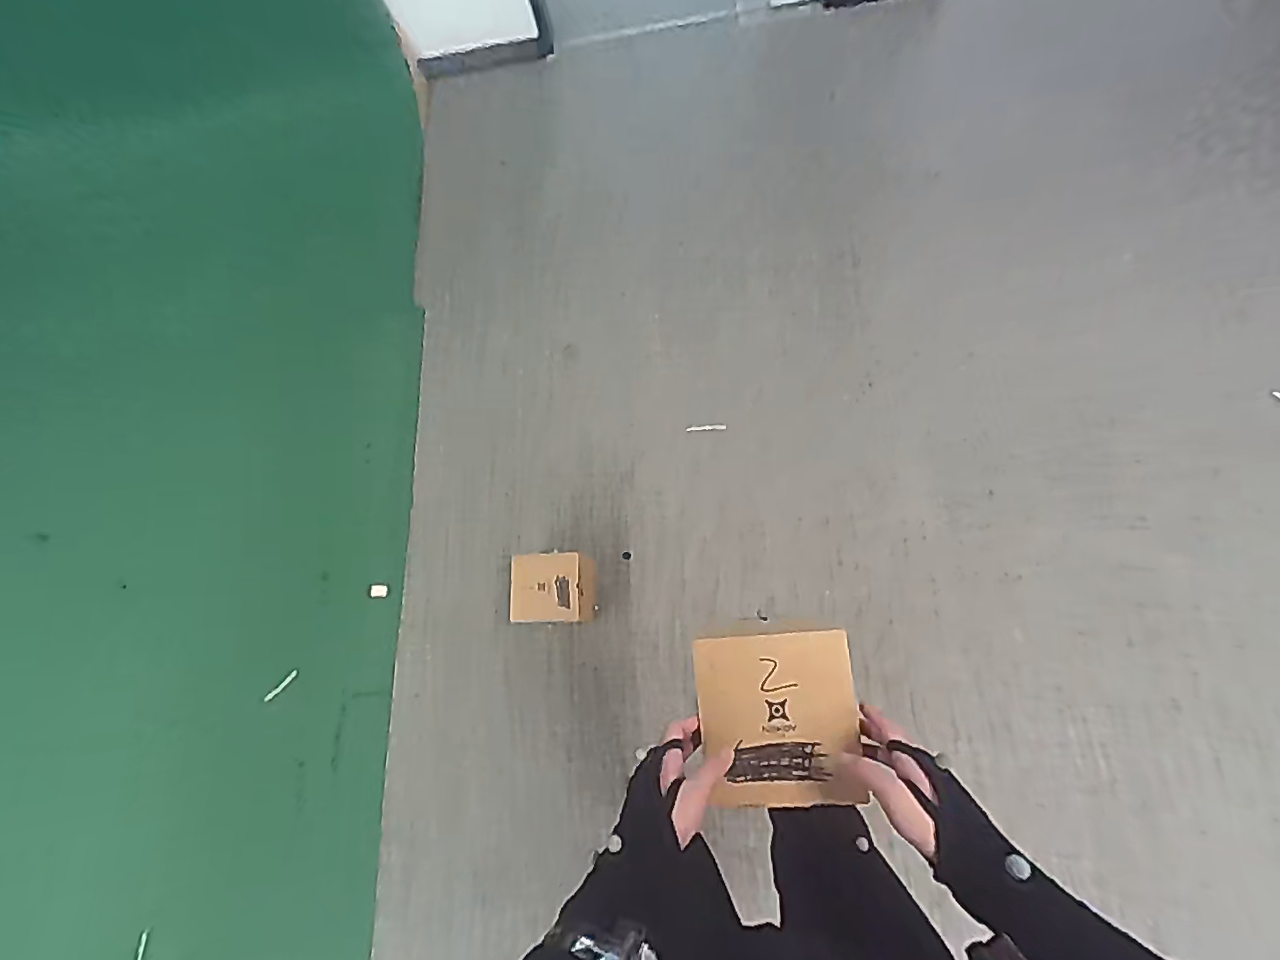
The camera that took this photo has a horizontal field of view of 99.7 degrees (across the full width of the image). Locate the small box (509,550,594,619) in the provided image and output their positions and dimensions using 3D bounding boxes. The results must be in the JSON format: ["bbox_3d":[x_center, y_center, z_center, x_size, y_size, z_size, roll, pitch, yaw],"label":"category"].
[{"bbox_3d":[-0.218,0.268,1.375,0.179,0.176,0.168,-3,75,9],"label":"small box"}]
